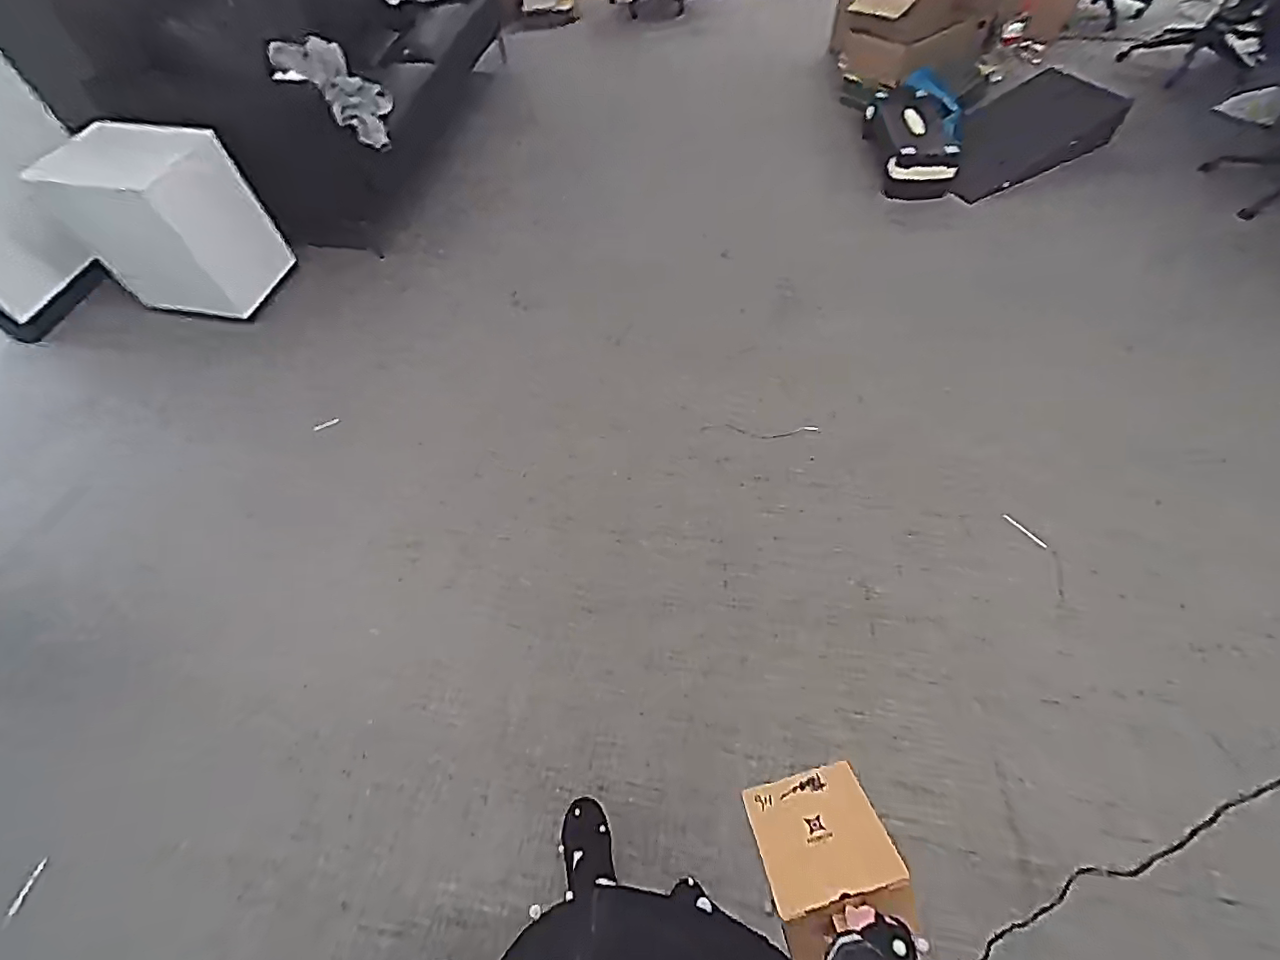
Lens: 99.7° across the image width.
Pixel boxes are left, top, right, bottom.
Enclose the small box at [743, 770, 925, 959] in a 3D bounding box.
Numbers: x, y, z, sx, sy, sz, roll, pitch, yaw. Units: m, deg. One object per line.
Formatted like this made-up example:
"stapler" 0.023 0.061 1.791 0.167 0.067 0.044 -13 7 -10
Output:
"small box" 0.263 0.553 0.744 0.168 0.176 0.179 -19 20 -1
